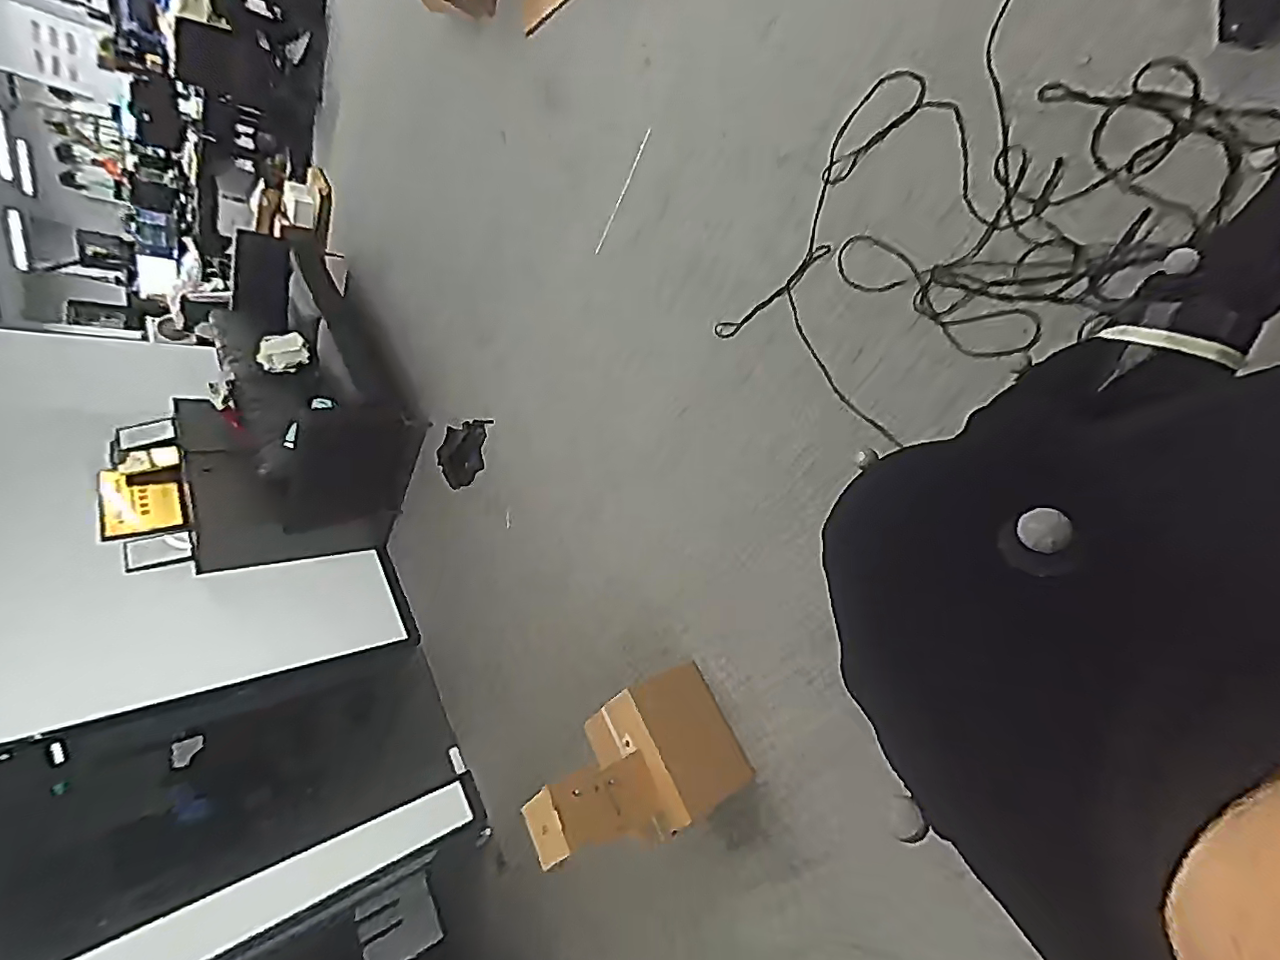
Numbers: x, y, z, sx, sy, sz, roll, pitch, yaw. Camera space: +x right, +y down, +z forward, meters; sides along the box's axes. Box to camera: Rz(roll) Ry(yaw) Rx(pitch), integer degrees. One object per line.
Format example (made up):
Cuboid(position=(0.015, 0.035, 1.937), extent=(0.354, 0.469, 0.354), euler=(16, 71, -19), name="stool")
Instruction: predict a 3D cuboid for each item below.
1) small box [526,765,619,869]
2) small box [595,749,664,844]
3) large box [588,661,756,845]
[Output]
Cuboid(position=(-0.180, 0.912, 1.474), extent=(0.168, 0.176, 0.179), euler=(58, 132, 29), name="small box")
Cuboid(position=(-0.059, 0.923, 1.582), extent=(0.168, 0.176, 0.179), euler=(-45, 61, 39), name="small box")
Cuboid(position=(0.098, 0.875, 1.766), extent=(0.320, 0.320, 0.408), euler=(-51, 57, 35), name="large box")
